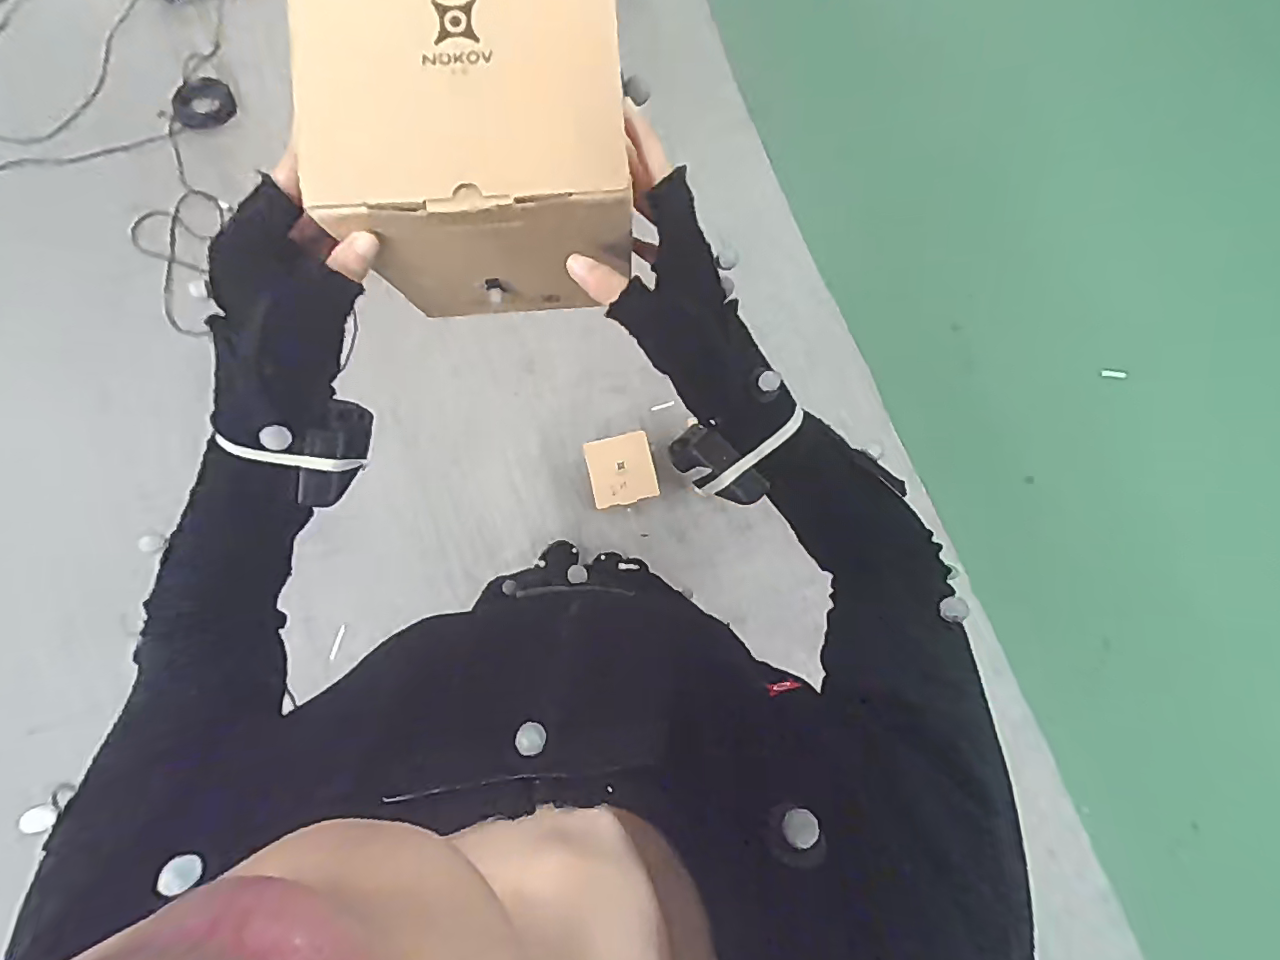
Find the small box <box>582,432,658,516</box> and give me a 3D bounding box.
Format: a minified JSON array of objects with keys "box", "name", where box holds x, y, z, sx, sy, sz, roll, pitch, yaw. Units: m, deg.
[{"box":[-0.054,-0.011,1.438,0.168,0.176,0.179,-13,83,-3],"name":"small box"}]
